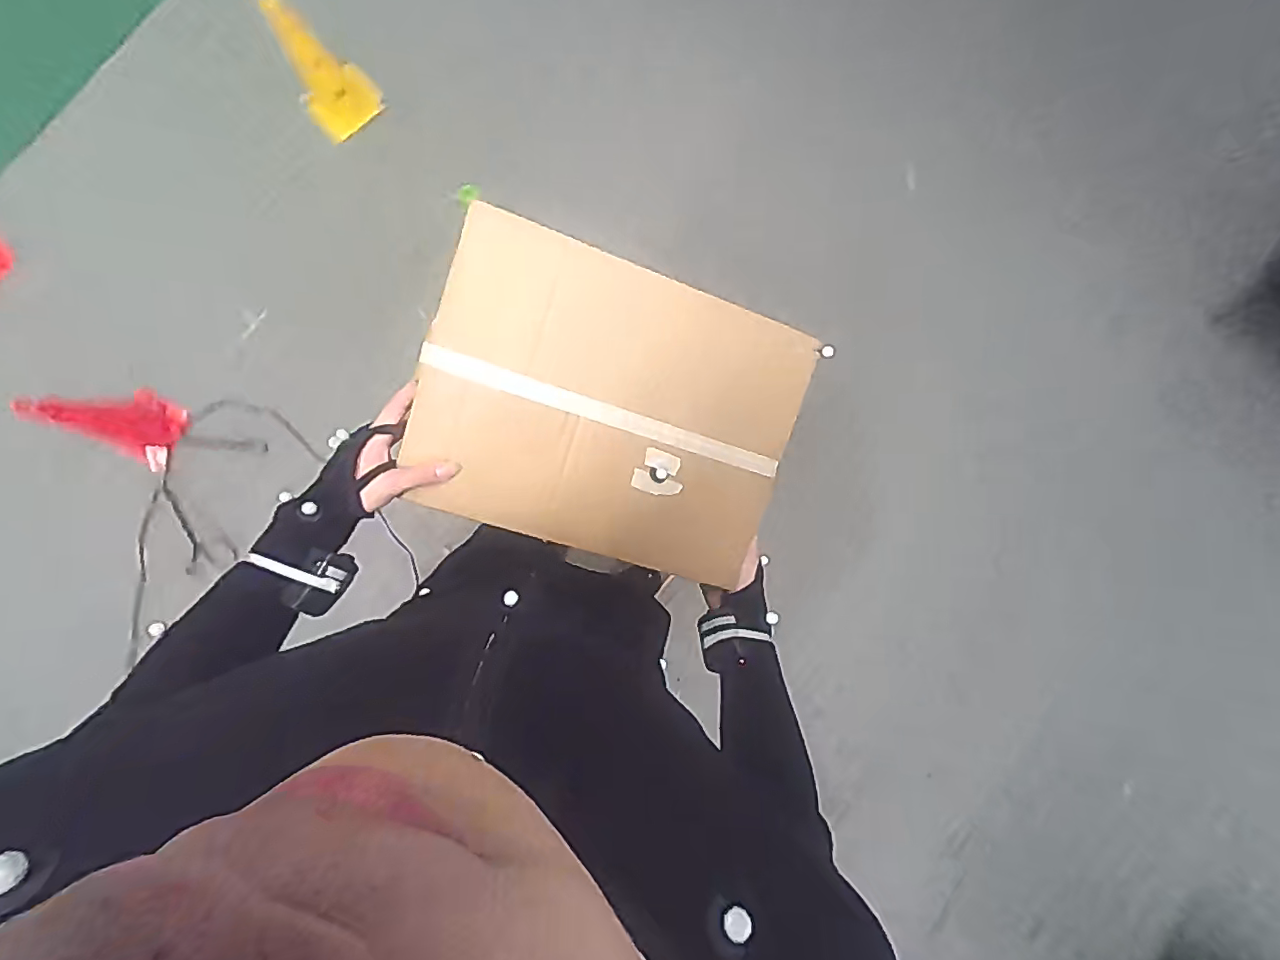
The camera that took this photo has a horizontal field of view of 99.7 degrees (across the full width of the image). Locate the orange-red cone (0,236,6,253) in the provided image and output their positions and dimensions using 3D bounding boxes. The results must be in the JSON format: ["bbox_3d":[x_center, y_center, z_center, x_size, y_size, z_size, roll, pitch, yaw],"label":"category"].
[{"bbox_3d":[-2.147,-0.763,1.551,0.199,0.360,0.198,-41,86,-1],"label":"orange-red cone"}]
